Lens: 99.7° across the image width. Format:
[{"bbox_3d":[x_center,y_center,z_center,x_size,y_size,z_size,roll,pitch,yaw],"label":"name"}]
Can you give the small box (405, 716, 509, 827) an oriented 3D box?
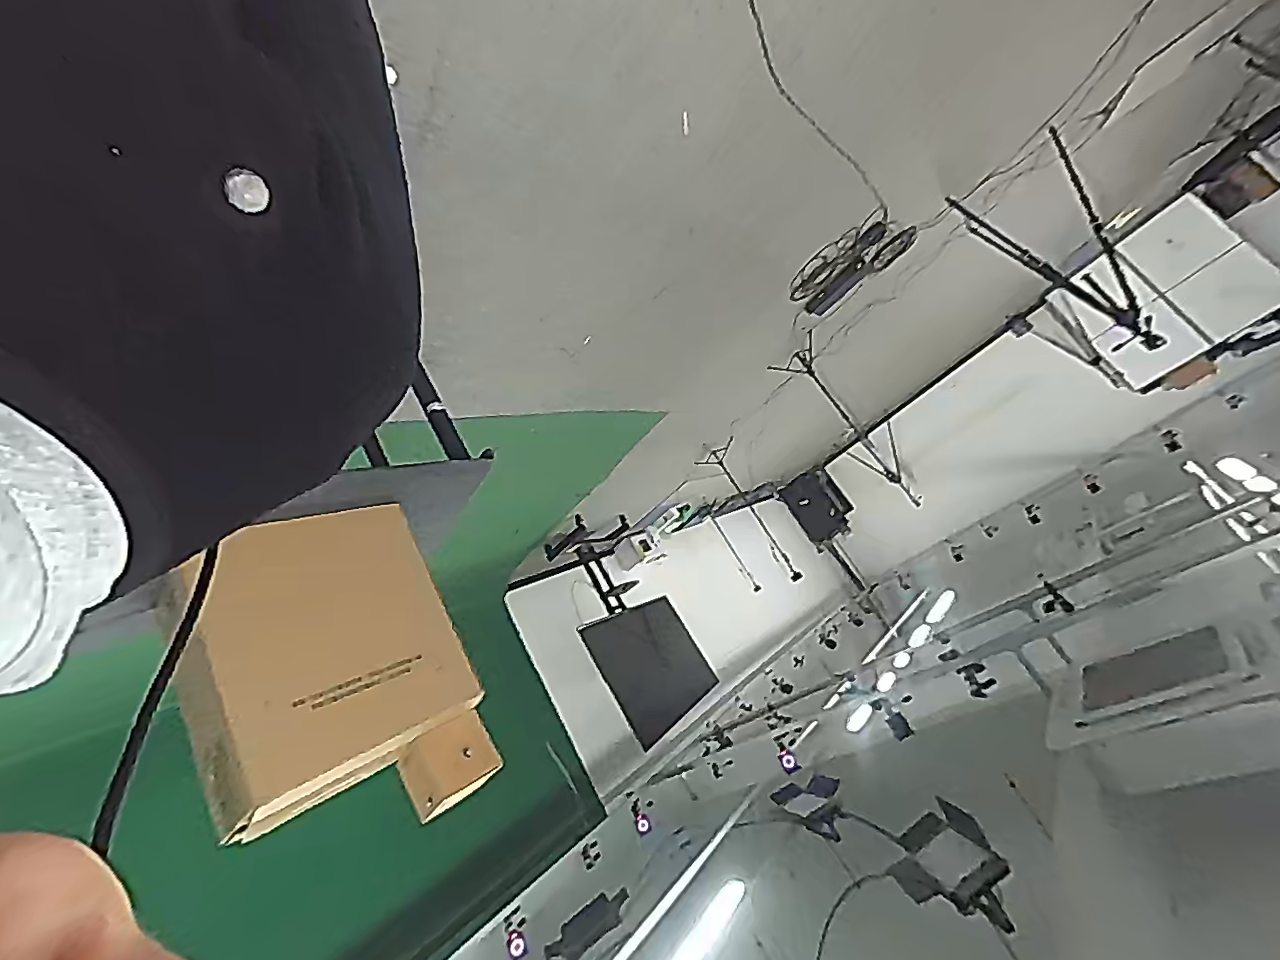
[{"bbox_3d":[-0.486,0.761,1.429,0.179,0.176,0.168,-11,145,-51],"label":"small box"}]
